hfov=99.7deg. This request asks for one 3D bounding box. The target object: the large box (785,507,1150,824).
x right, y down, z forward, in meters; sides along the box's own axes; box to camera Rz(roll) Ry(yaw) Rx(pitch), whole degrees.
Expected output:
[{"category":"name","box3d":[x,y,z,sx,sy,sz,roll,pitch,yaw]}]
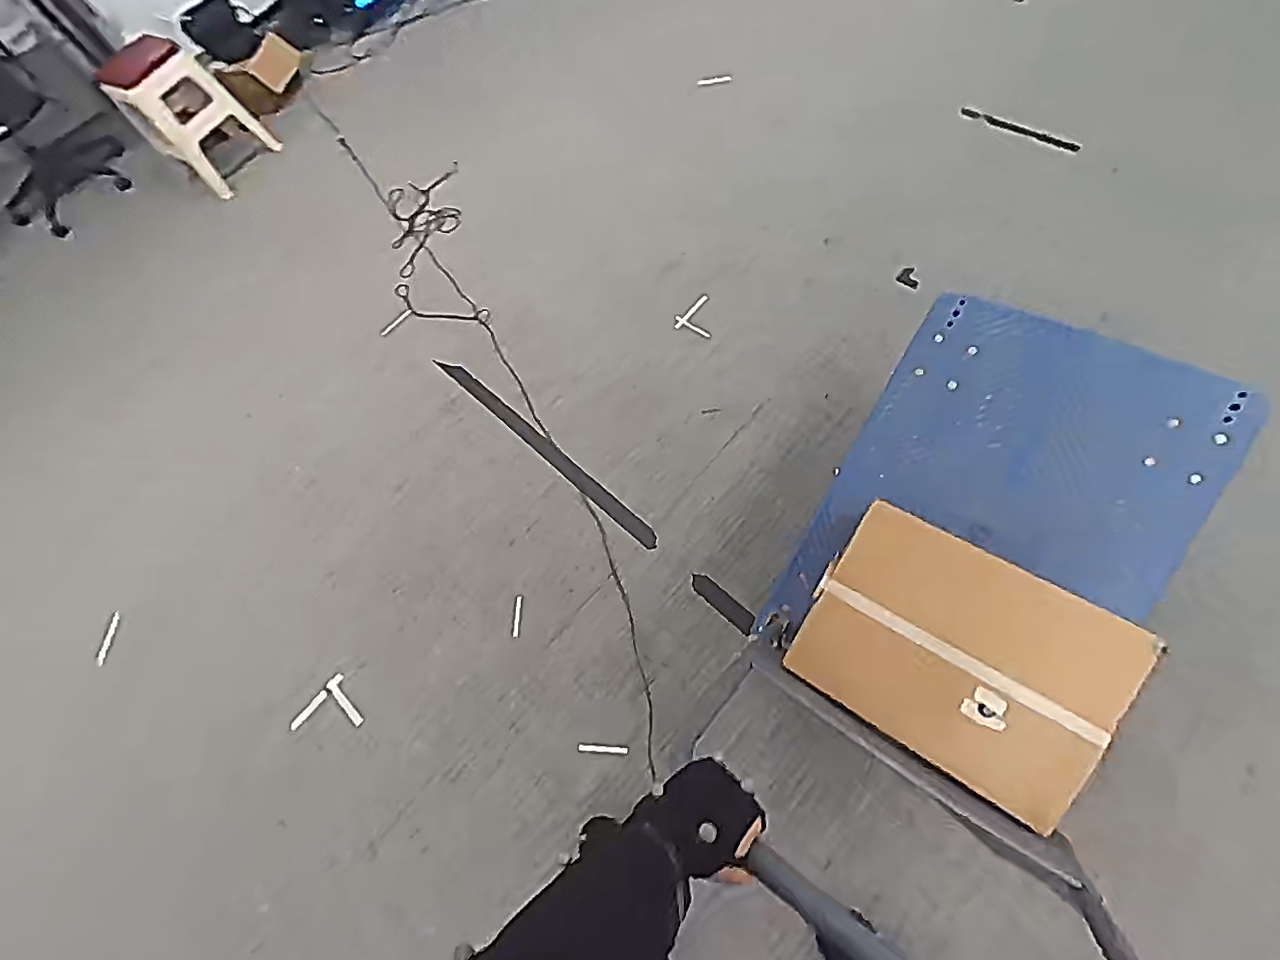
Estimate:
[{"category":"large box","box3d":[0.518,0.281,0.955,0.408,0.320,0.320,30,94,22]}]
